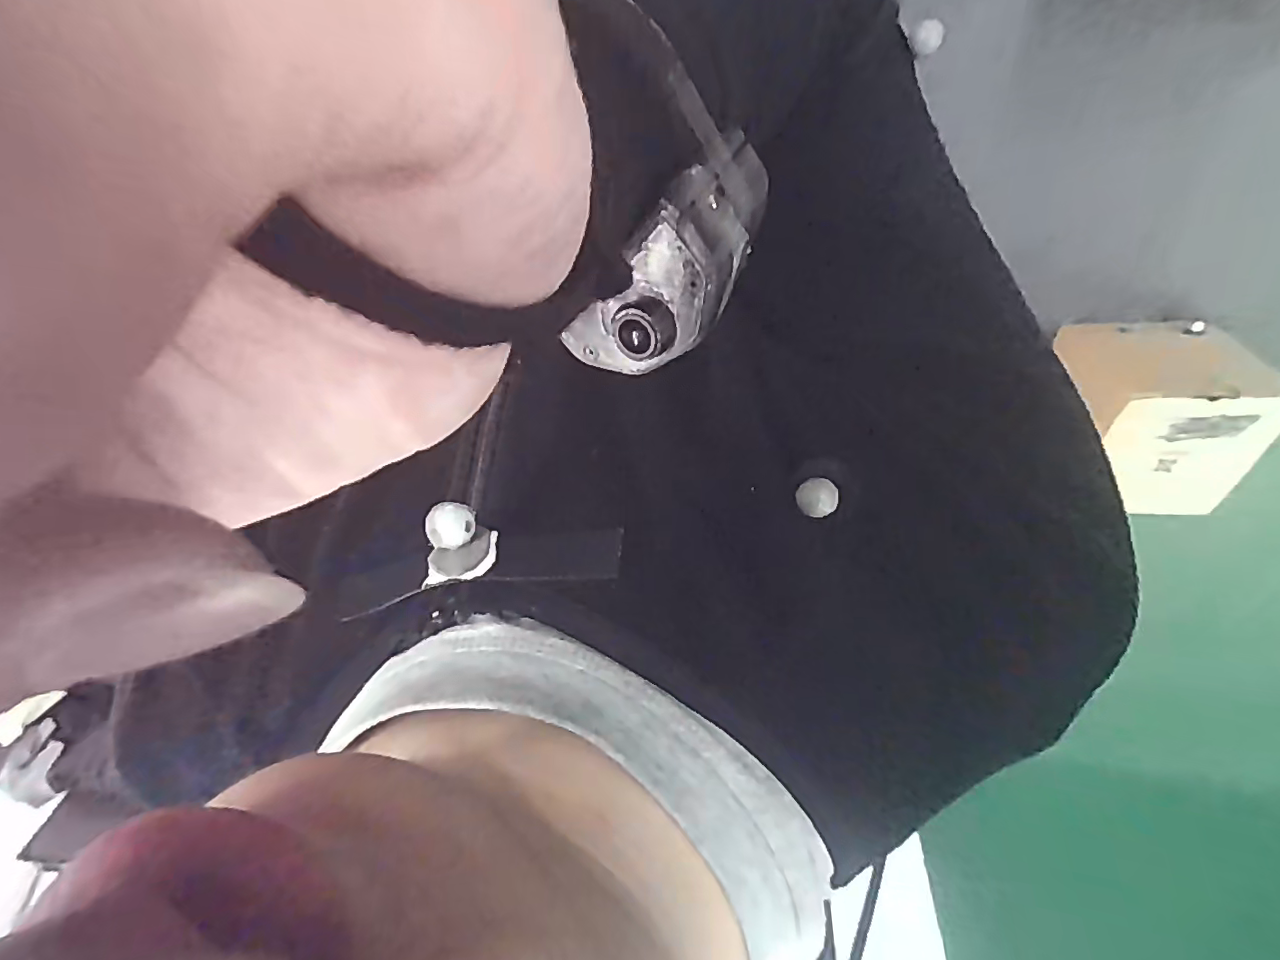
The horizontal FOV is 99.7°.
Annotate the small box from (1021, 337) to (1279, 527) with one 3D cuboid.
[{"bbox_3d":[0.613,-0.064,0.668,0.168,0.176,0.179,2,132,9],"label":"small box"}]
